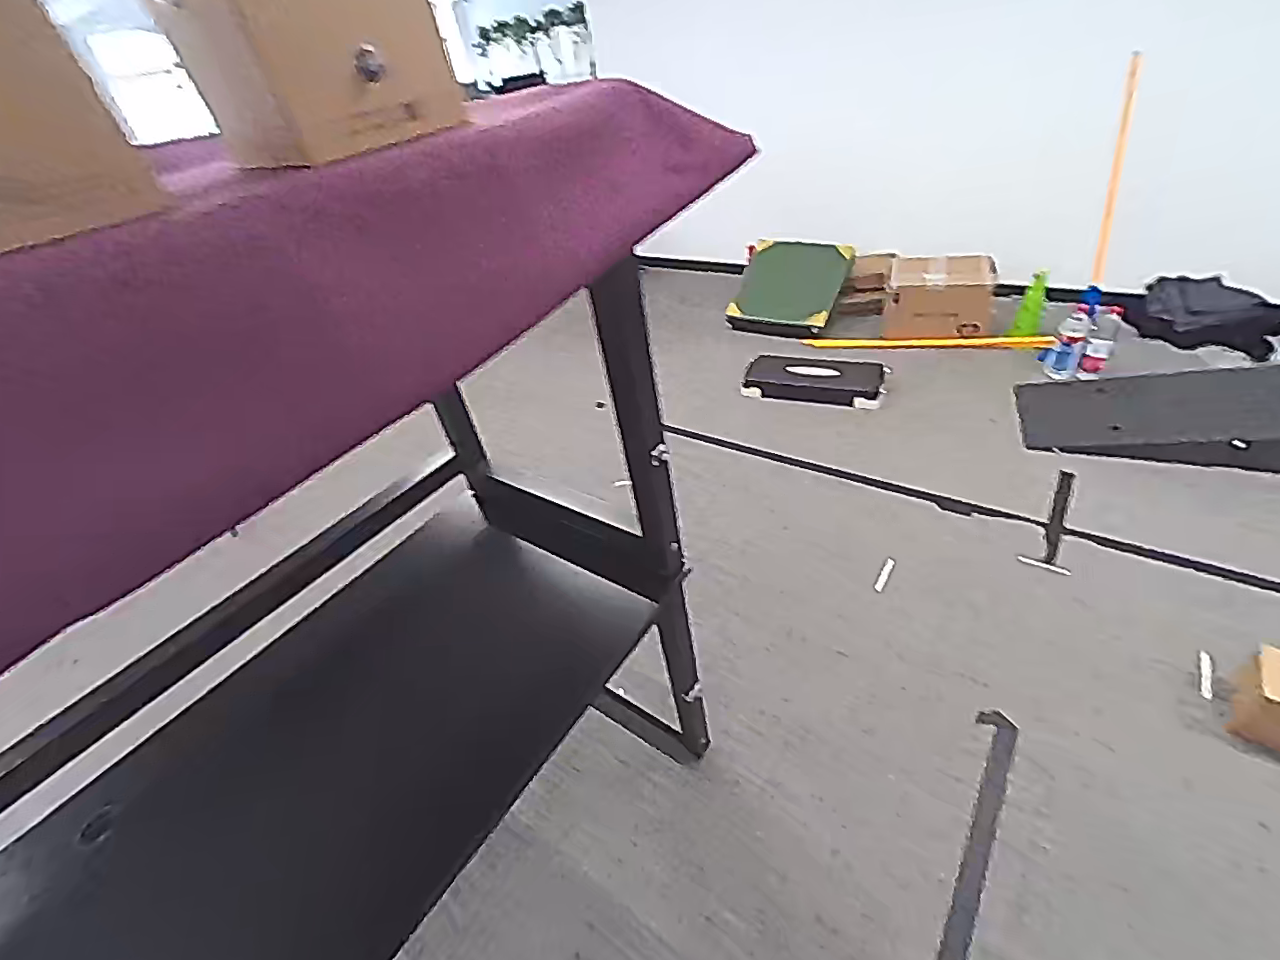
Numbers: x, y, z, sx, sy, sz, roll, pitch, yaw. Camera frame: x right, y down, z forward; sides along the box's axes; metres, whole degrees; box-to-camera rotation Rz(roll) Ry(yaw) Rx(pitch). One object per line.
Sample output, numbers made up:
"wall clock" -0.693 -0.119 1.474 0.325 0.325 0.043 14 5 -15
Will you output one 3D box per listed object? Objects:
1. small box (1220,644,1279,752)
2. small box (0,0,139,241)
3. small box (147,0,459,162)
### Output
"small box" 1.525 0.527 1.265 0.179 0.176 0.168 21 49 33
"small box" -0.447 -0.228 0.314 0.168 0.176 0.179 22 49 35
"small box" -0.294 -0.388 0.468 0.179 0.176 0.168 22 50 34
